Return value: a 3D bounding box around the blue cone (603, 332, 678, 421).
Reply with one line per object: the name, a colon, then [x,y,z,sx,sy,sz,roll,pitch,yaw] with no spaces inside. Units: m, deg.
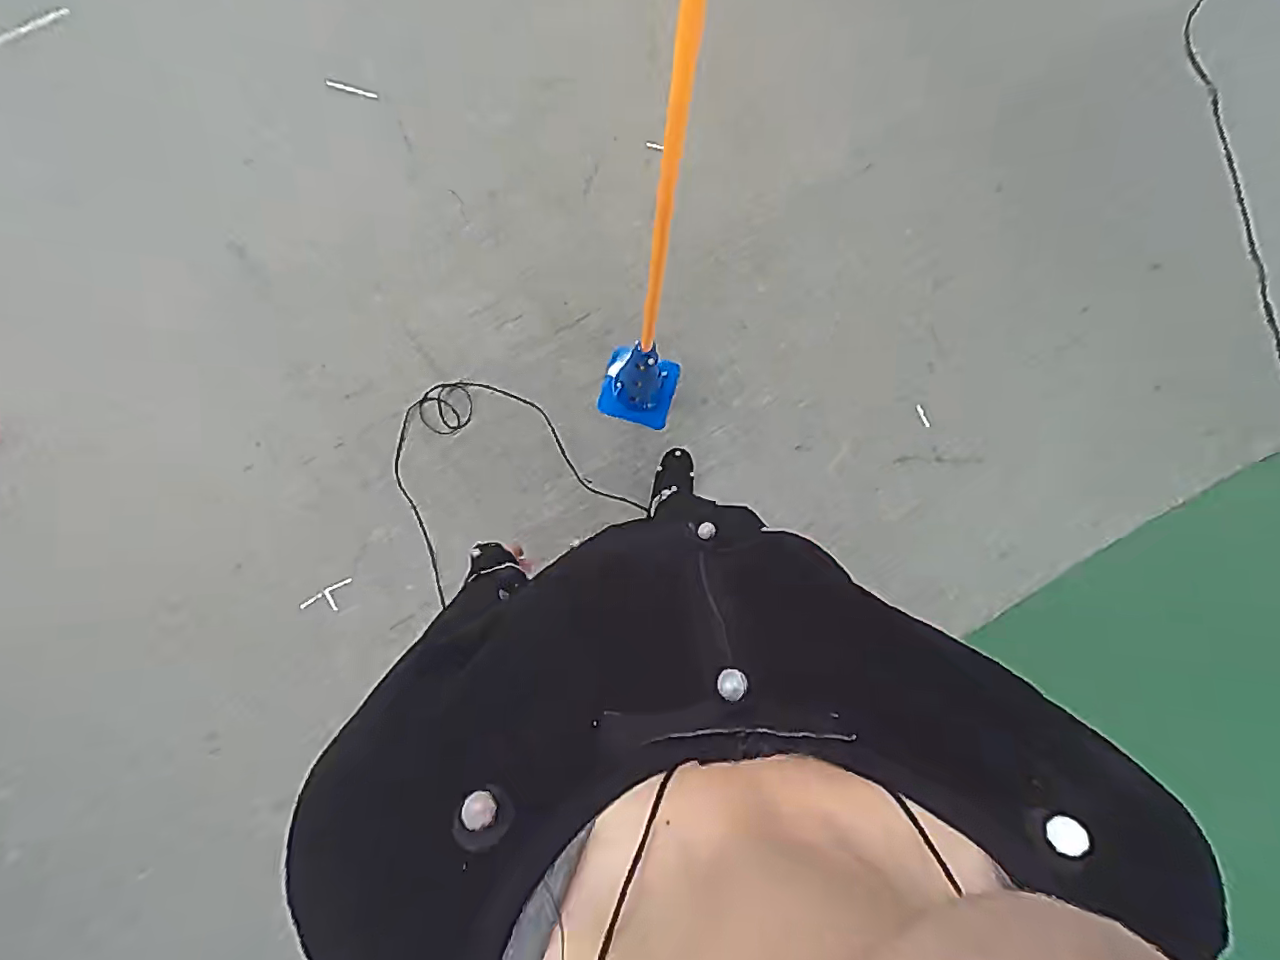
blue cone: [0.010,-0.284,1.337,0.192,0.380,0.193,16,84,-2]
